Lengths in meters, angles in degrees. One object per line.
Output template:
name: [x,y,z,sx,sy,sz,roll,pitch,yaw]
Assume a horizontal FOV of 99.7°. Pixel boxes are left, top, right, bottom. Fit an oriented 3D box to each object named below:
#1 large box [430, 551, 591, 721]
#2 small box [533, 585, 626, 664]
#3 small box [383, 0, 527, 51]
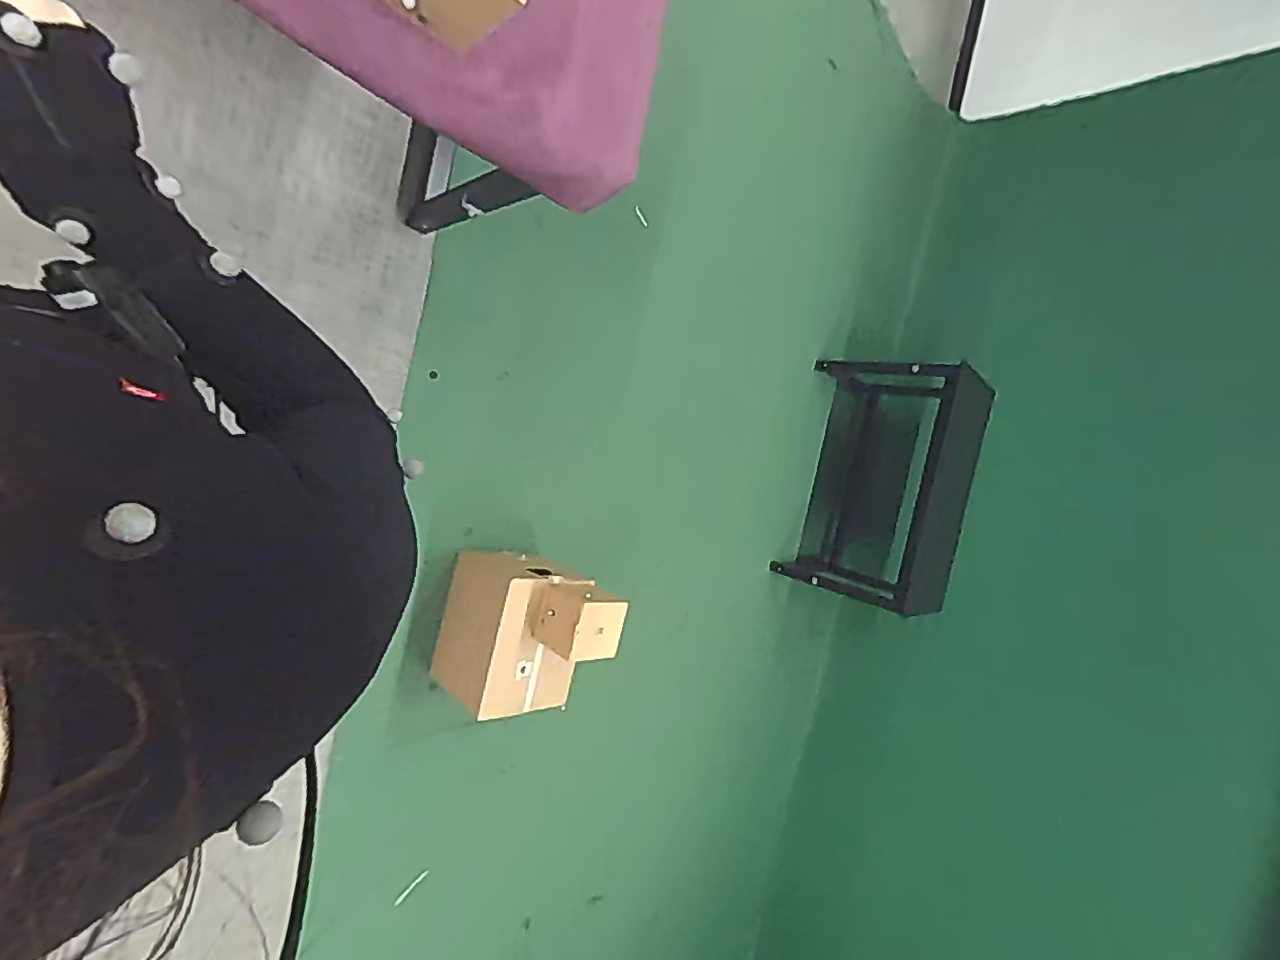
large box: [-0.402,0.455,1.666,0.320,0.320,0.408,13,92,-46]
small box: [-0.172,0.403,1.533,0.179,0.176,0.168,13,91,-46]
small box: [-0.223,-0.649,0.610,0.168,0.176,0.179,11,92,-46]
